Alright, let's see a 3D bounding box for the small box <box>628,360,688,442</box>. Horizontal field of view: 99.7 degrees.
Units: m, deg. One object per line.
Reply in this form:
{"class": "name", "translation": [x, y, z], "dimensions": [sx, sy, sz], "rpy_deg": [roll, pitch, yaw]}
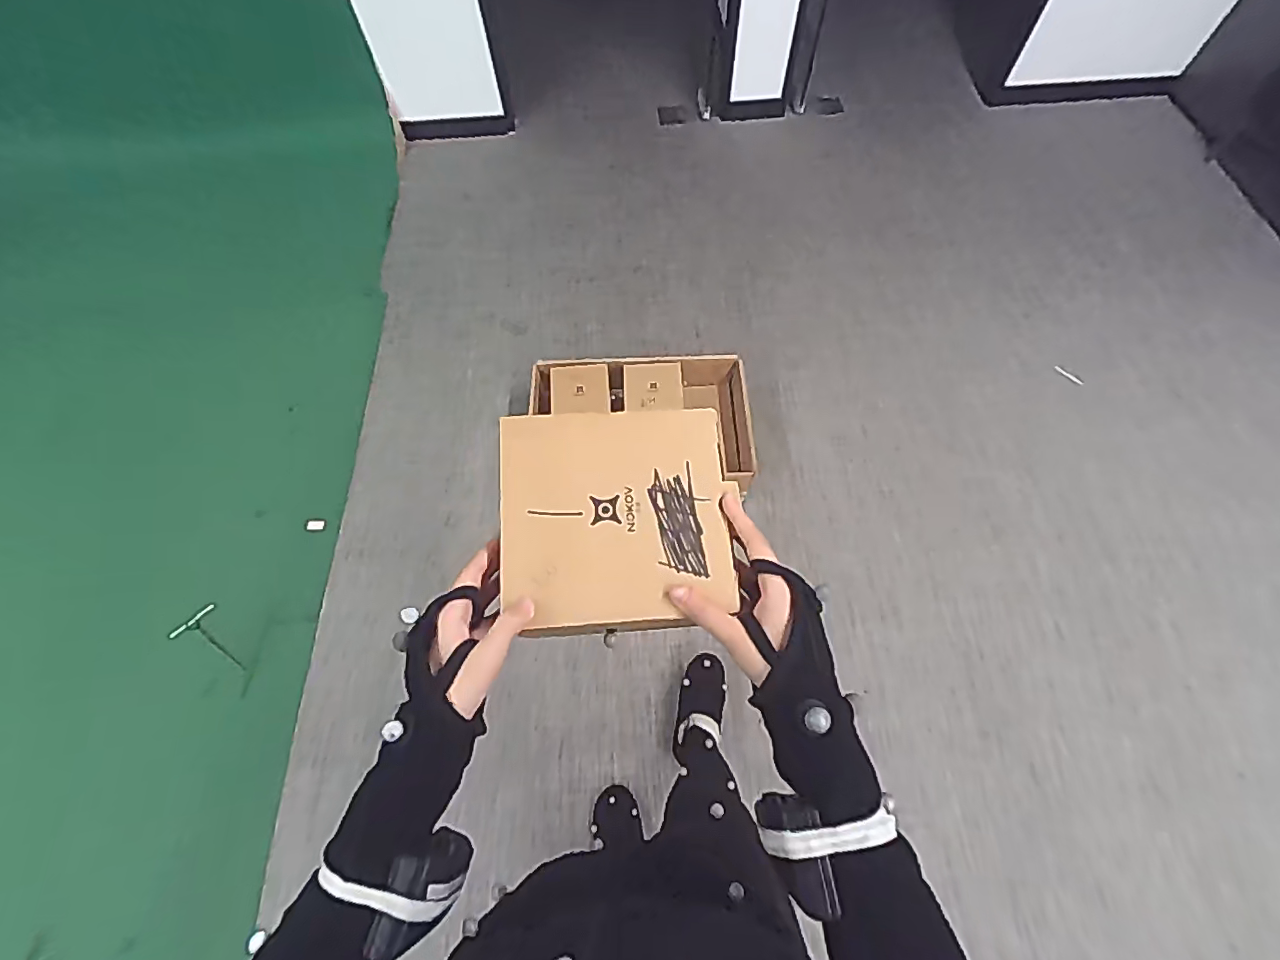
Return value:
{"class": "small box", "translation": [0.050, -0.226, 1.573], "dimensions": [0.168, 0.176, 0.179], "rpy_deg": [-2, 65, 2]}
